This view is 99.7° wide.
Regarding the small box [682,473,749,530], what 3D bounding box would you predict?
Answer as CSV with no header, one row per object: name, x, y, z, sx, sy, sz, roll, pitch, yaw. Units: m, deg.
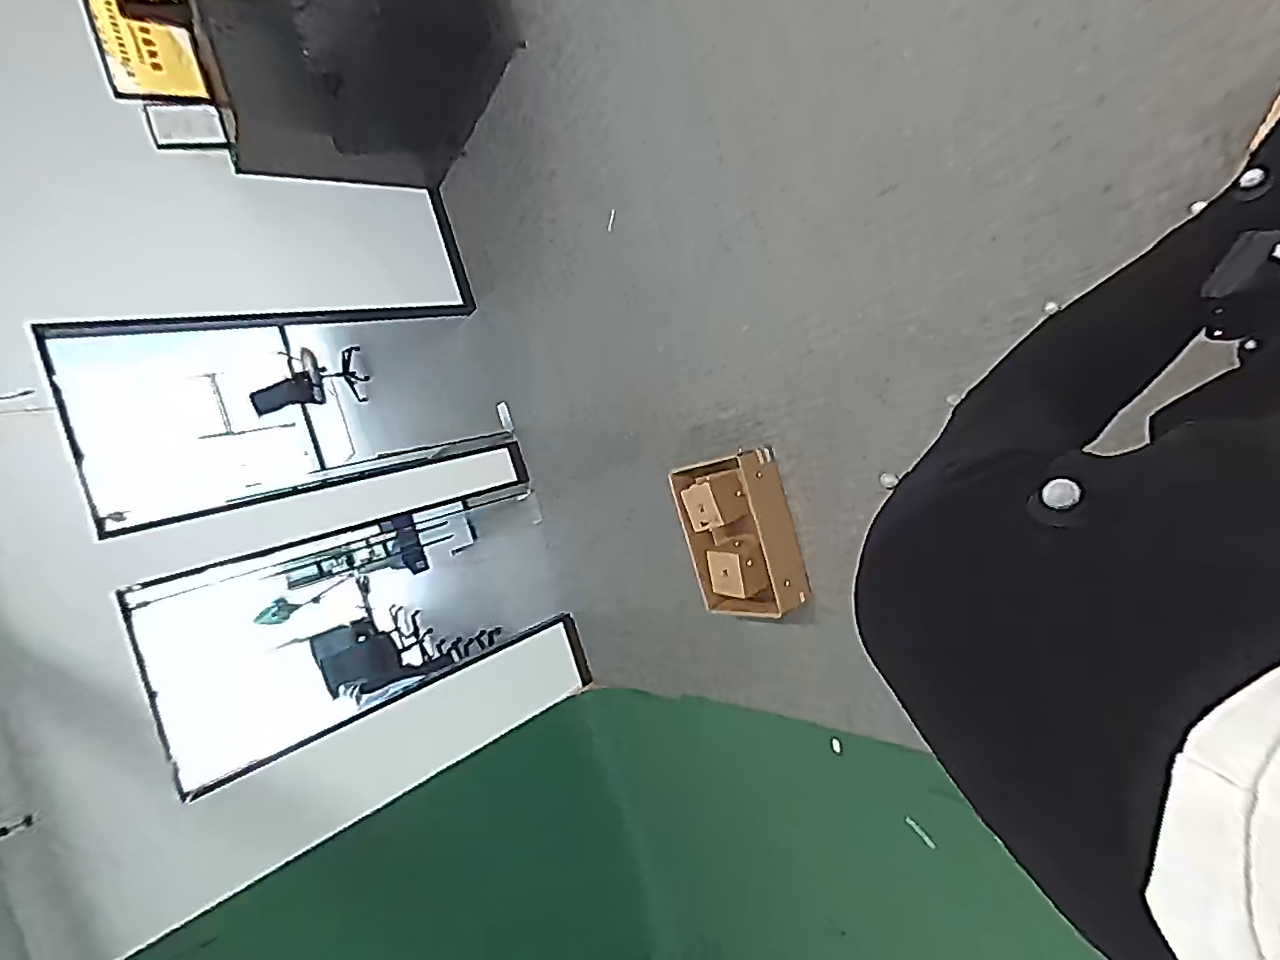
small box,0.299,0.081,2.134,0.168,0.176,0.179,-21,88,51
